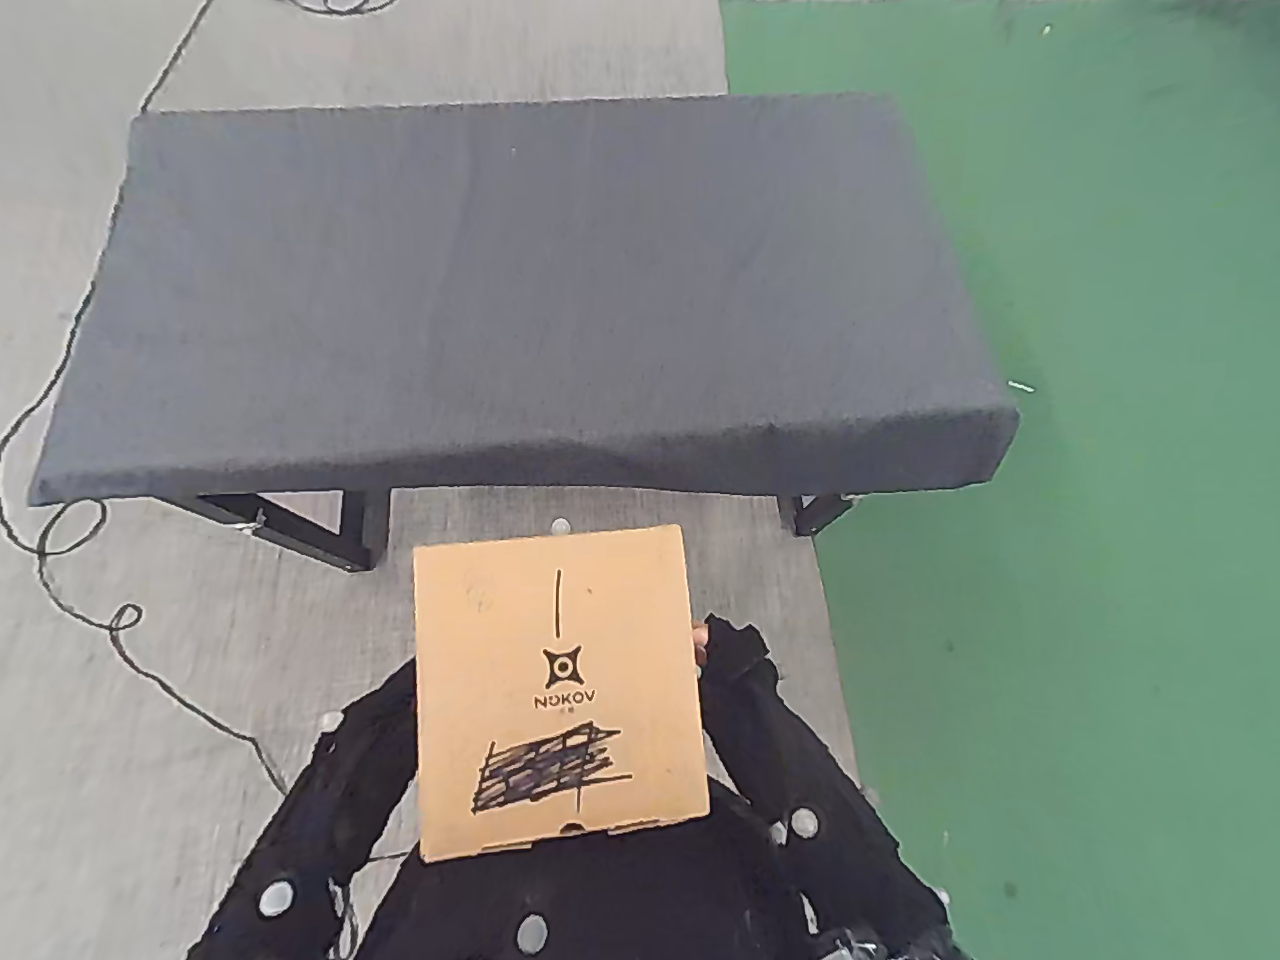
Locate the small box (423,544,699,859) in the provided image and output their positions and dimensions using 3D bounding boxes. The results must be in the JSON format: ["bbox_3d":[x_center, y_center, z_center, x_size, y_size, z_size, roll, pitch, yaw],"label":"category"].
[{"bbox_3d":[-0.058,0.140,0.410,0.168,0.176,0.179,-3,83,-9],"label":"small box"}]
